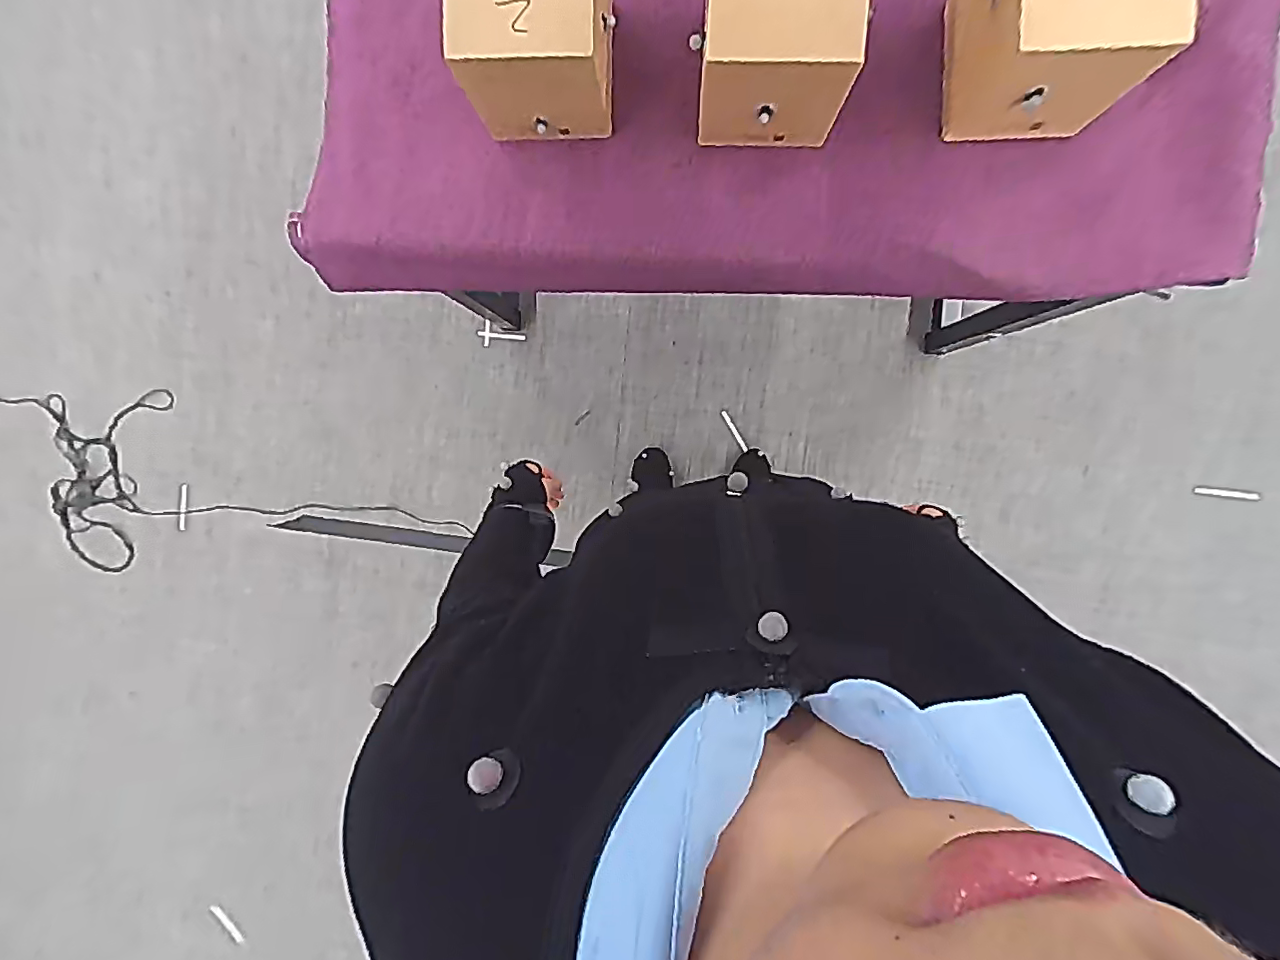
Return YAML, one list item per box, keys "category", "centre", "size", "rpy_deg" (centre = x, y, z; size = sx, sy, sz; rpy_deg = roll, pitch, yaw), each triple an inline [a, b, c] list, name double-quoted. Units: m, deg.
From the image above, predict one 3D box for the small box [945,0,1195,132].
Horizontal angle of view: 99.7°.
- category: "small box"
  centre: [0.472, -0.526, 0.616]
  size: [0.168, 0.176, 0.179]
  rpy_deg: [1, 93, 5]

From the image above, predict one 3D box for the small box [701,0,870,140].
- category: "small box"
  centre: [0.162, -0.532, 0.636]
  size: [0.168, 0.176, 0.179]
  rpy_deg: [3, 94, 3]
